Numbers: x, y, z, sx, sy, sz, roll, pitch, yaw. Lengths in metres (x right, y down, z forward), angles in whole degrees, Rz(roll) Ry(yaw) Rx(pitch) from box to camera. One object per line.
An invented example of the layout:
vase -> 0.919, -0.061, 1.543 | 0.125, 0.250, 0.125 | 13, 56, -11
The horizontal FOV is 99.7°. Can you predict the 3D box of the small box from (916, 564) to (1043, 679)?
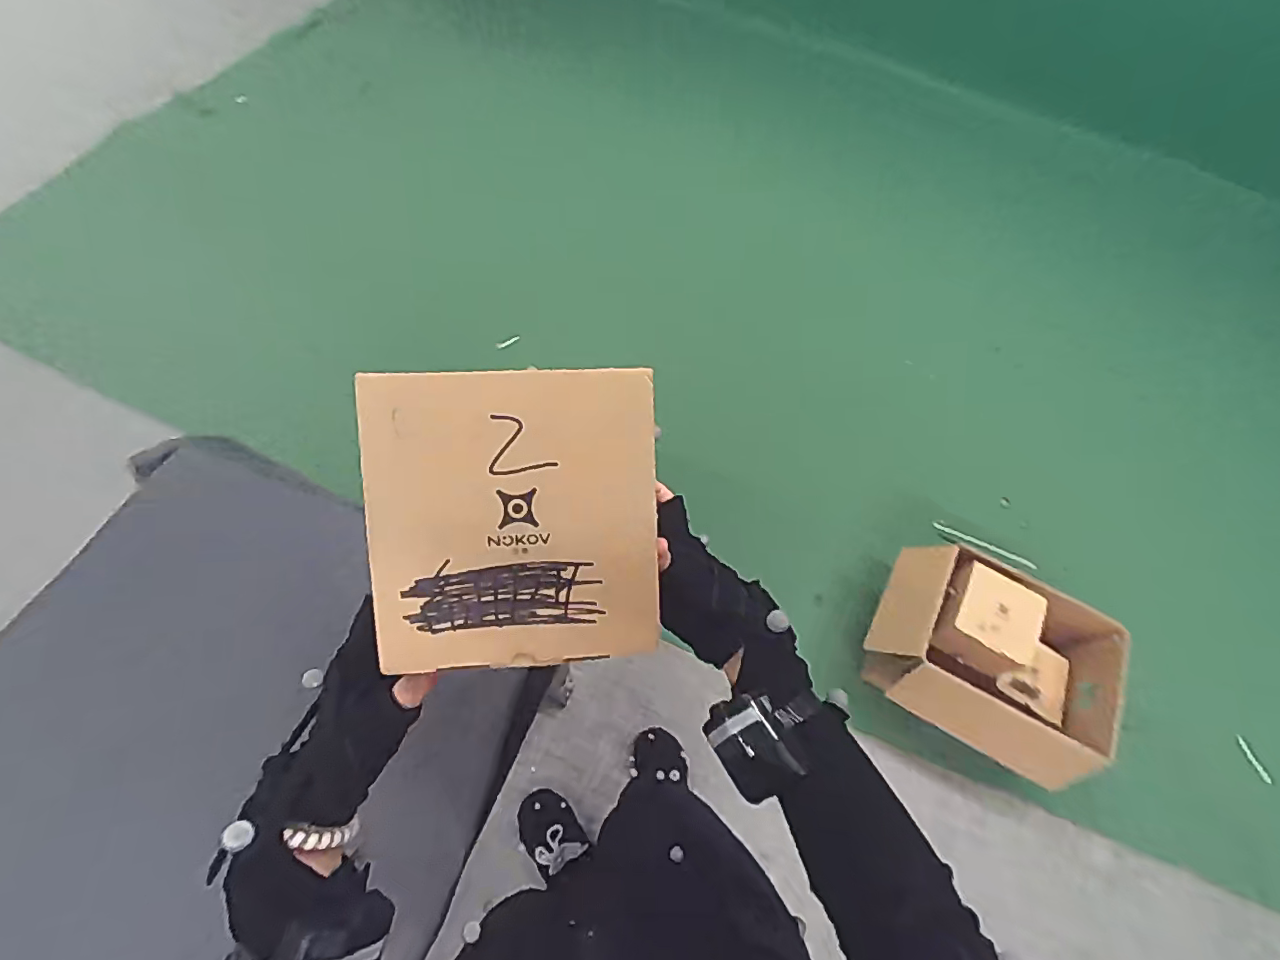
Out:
small box -> 0.767, 0.327, 1.235 | 0.168, 0.176, 0.179 | 30, 64, 11
